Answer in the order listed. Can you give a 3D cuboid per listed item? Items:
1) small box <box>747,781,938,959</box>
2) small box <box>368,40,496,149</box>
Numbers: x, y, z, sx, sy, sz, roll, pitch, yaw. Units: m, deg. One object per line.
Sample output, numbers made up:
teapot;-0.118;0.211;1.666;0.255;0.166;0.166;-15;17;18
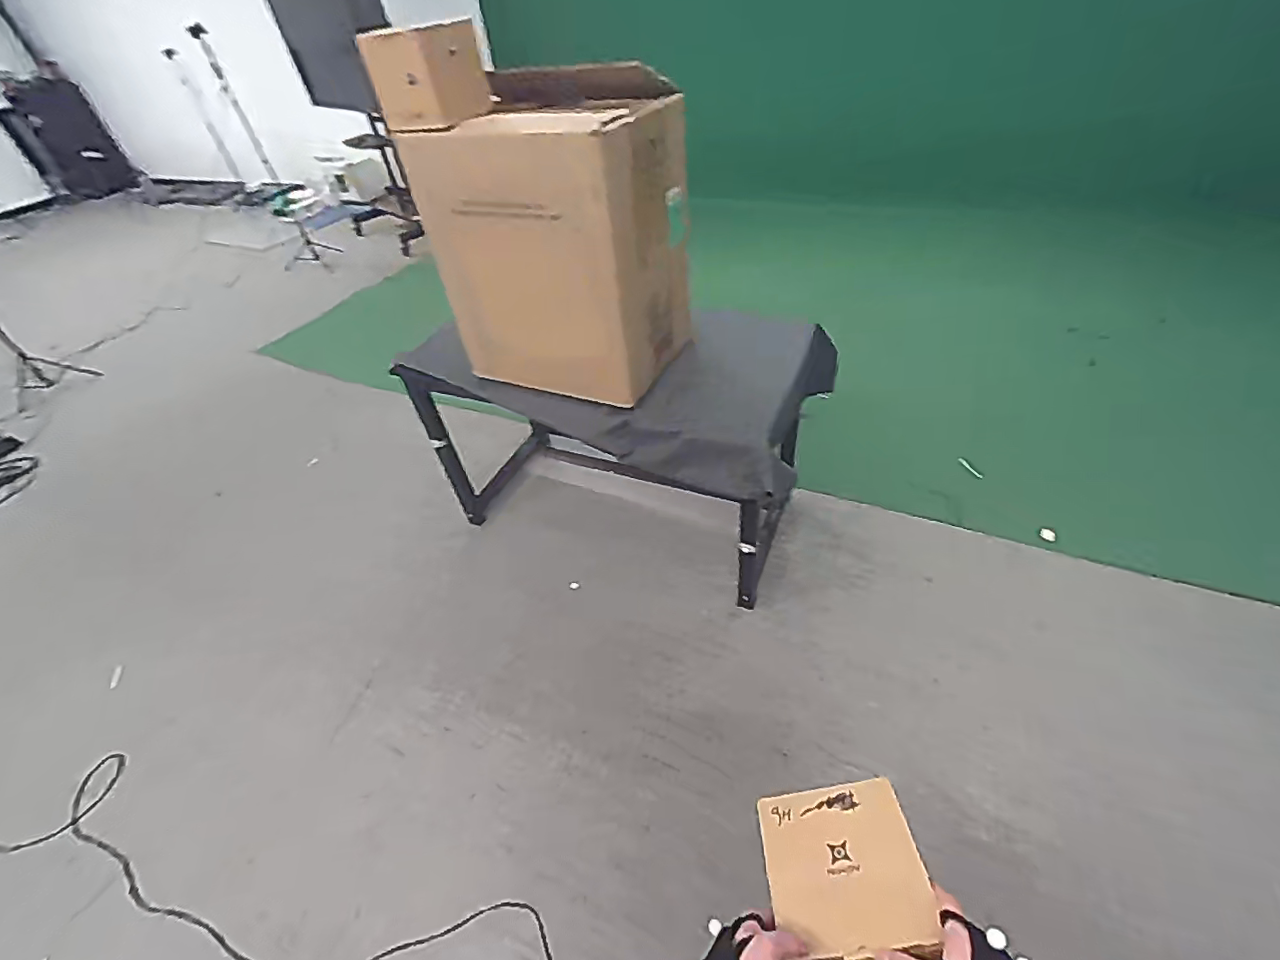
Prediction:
small box;0.237;0.499;0.633;0.168;0.176;0.179;-18;23;11
small box;-0.445;-0.841;1.188;0.168;0.176;0.179;15;47;24
